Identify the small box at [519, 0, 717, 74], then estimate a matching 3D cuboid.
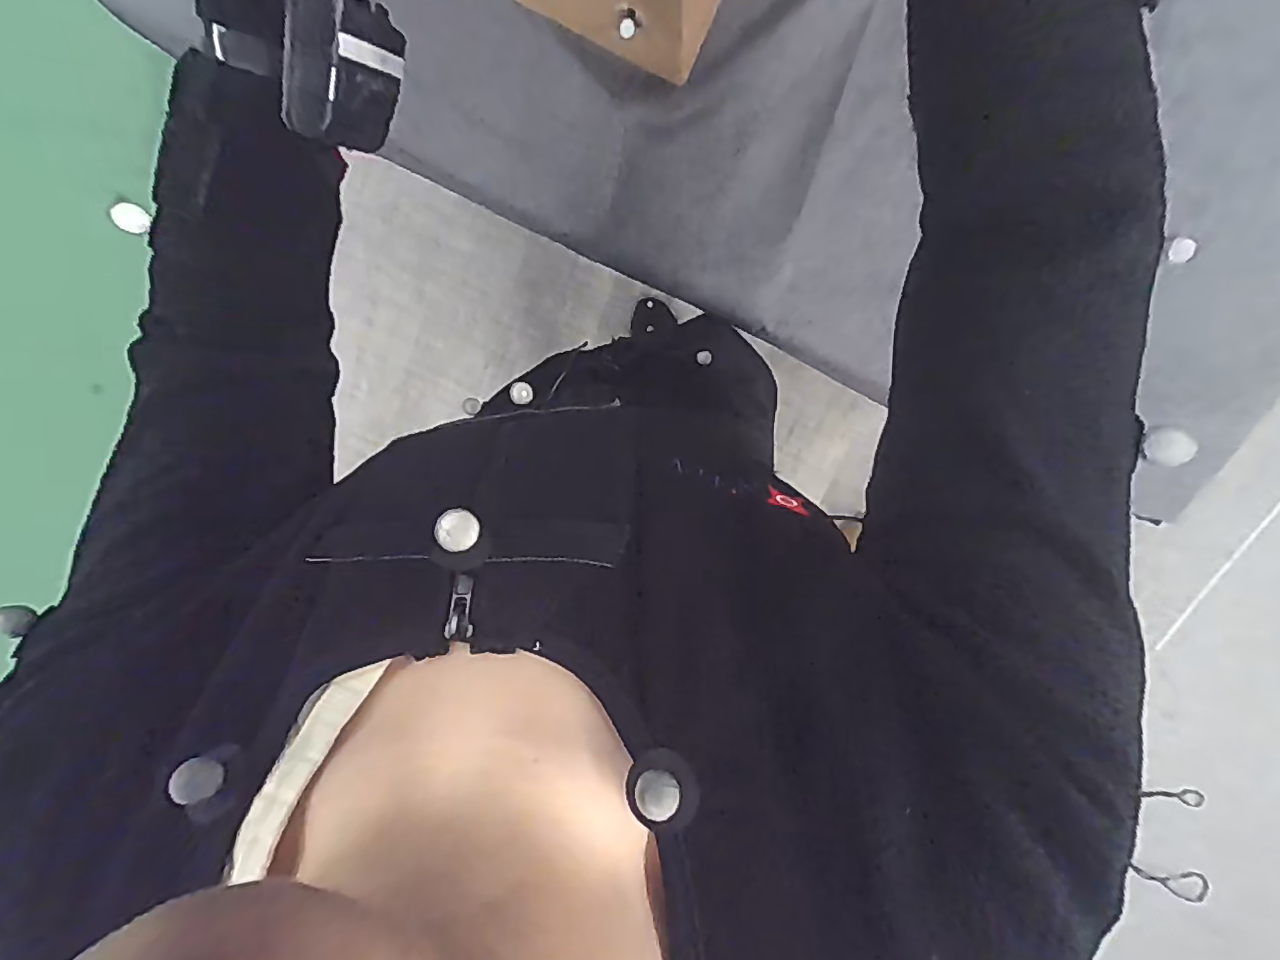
[{"bbox_3d":[-0.008,-0.444,0.395,0.179,0.176,0.168,25,105,-3],"label":"small box"}]
